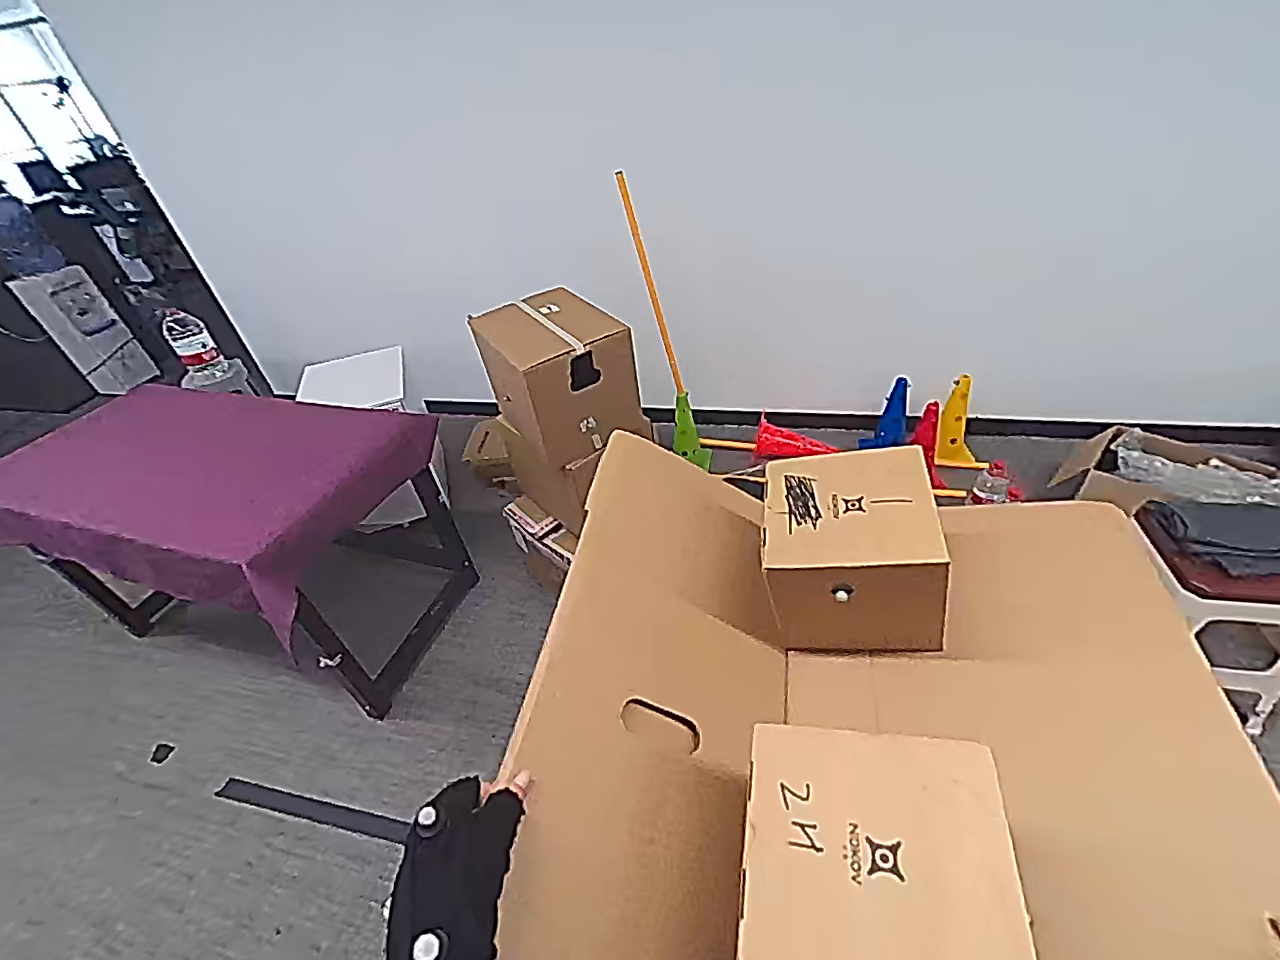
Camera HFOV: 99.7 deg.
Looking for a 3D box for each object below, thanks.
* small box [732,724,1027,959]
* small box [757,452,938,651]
[{"bbox_3d":[0.184,0.318,0.431,0.179,0.176,0.168,-5,44,23],"label":"small box"},{"bbox_3d":[0.246,0.090,0.647,0.179,0.176,0.168,-6,44,21],"label":"small box"}]
